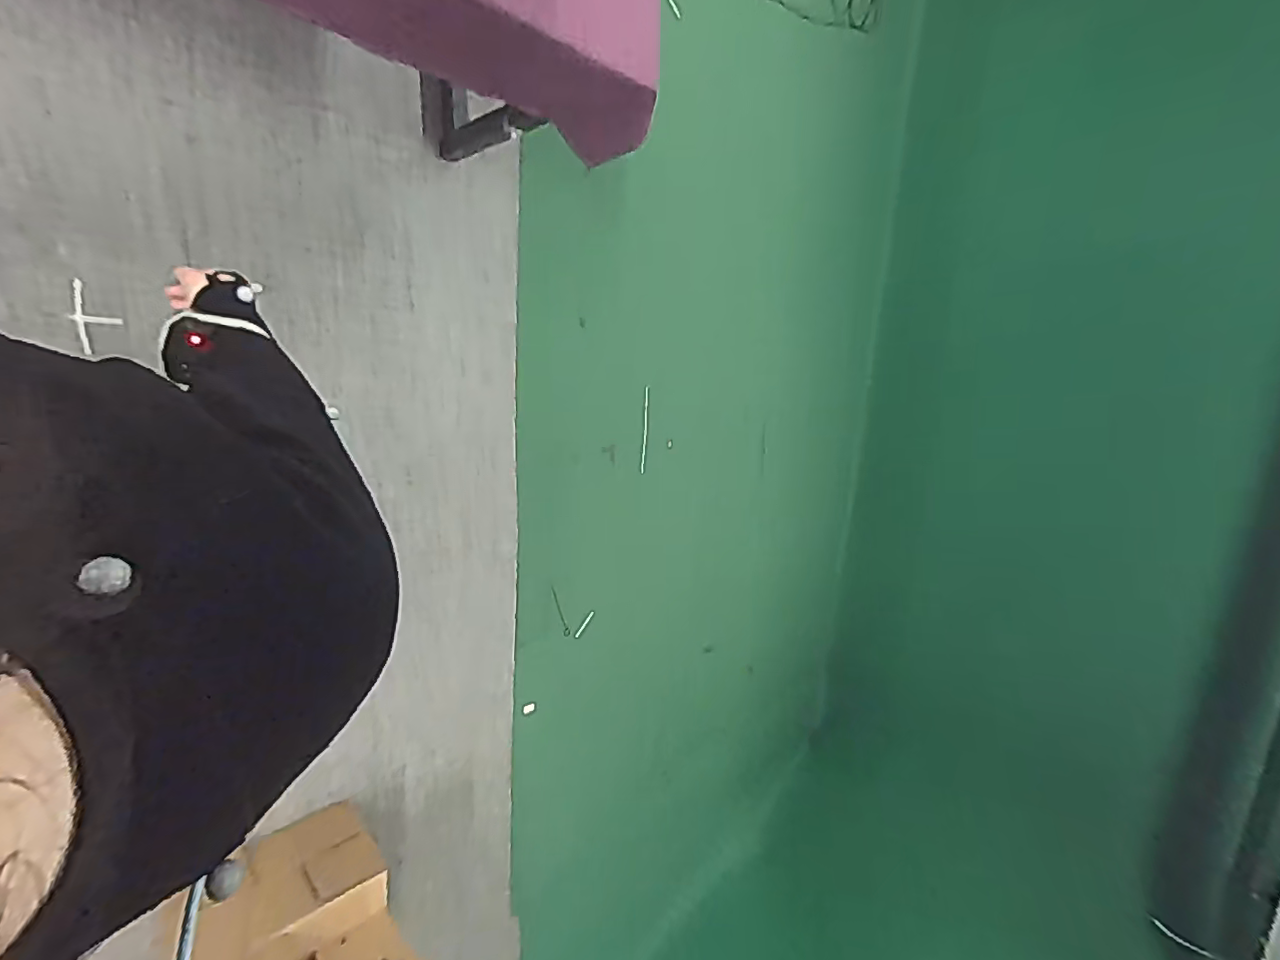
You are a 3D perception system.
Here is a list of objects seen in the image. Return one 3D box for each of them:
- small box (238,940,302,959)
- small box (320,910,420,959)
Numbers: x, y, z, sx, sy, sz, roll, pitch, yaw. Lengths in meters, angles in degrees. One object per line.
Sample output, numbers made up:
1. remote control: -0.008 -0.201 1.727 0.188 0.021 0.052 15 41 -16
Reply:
1. small box: -0.791 1.103 1.106 0.168 0.176 0.179 1 101 -47
2. small box: -0.652 1.197 1.290 0.168 0.176 0.179 0 102 -50
